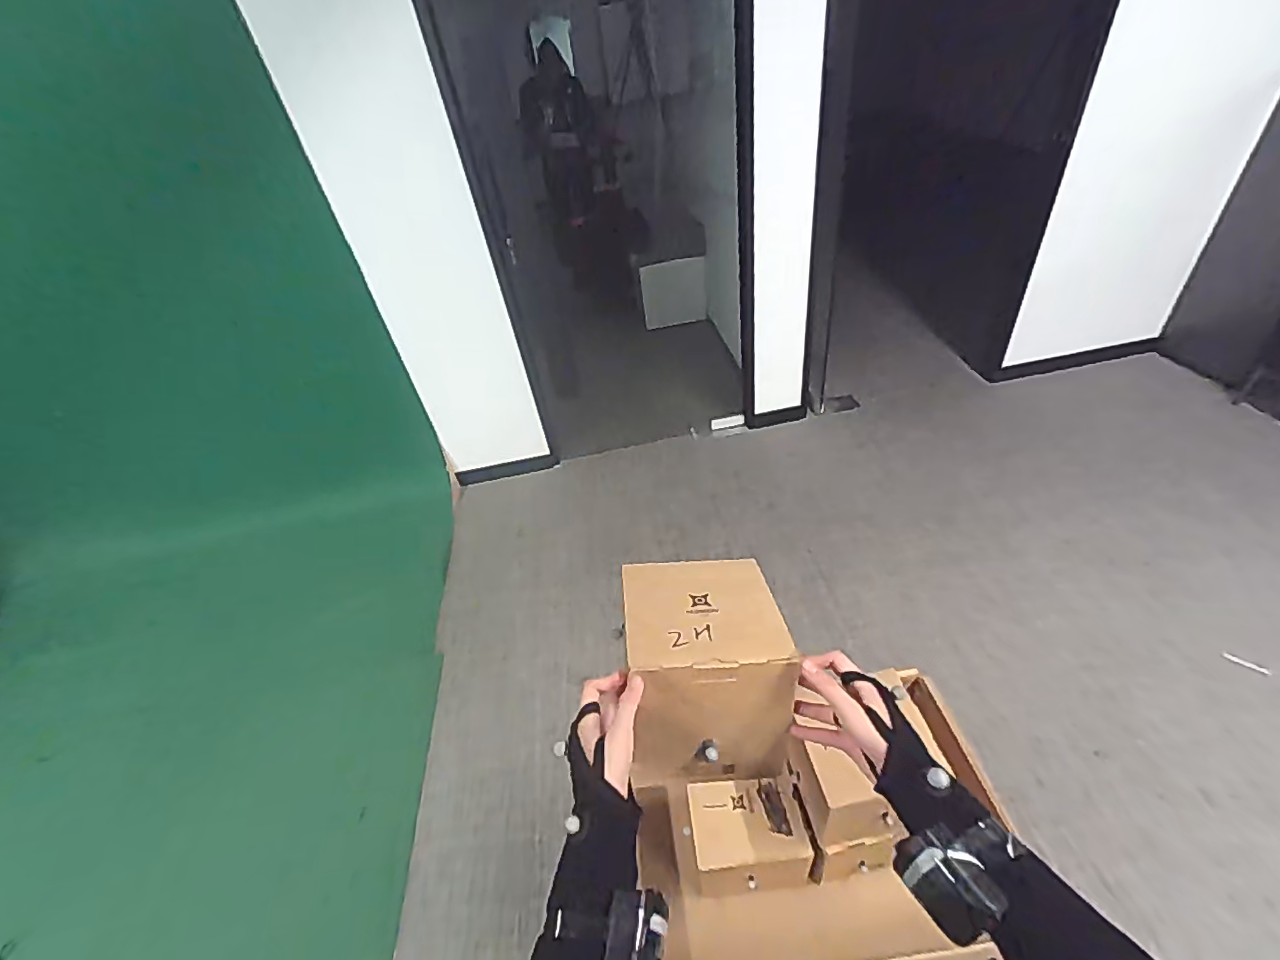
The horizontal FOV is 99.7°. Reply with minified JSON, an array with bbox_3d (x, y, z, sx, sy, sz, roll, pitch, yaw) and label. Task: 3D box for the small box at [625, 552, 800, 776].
[{"bbox_3d":[0.066,0.199,0.612,0.168,0.176,0.179,-3,26,-2],"label":"small box"}]
